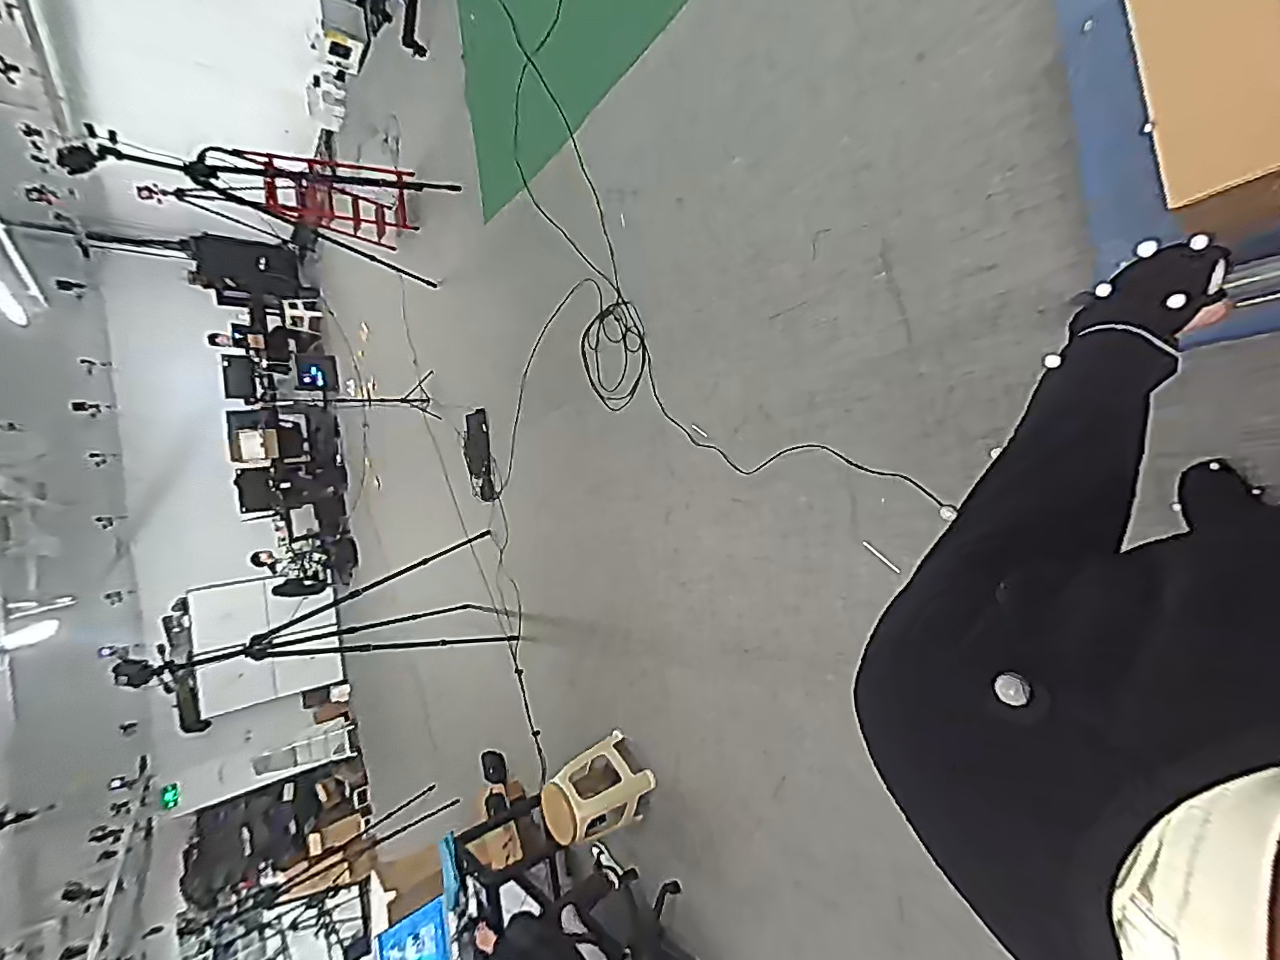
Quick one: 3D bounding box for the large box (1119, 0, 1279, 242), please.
[{"bbox_3d":[1.007,-0.652,0.831,0.320,0.320,0.408,-13,85,50],"label":"large box"}]
